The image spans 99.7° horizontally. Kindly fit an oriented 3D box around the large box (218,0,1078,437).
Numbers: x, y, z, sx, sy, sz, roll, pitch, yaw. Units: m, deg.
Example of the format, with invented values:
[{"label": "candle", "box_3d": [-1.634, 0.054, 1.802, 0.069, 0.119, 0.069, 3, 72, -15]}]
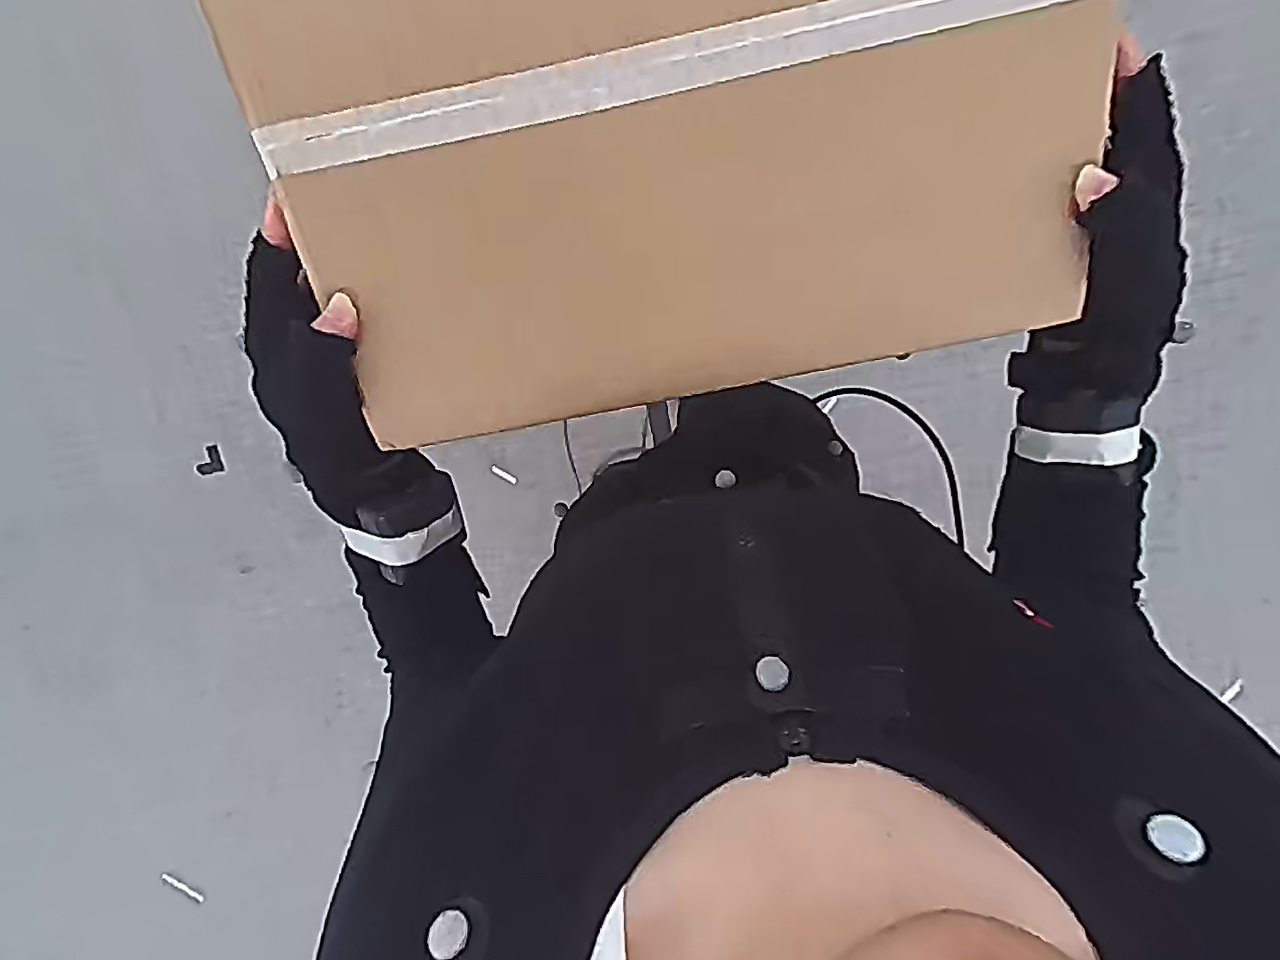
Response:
[{"label": "large box", "box_3d": [0.010, -0.259, 0.398, 0.408, 0.320, 0.320, -11, 112, 3]}]
